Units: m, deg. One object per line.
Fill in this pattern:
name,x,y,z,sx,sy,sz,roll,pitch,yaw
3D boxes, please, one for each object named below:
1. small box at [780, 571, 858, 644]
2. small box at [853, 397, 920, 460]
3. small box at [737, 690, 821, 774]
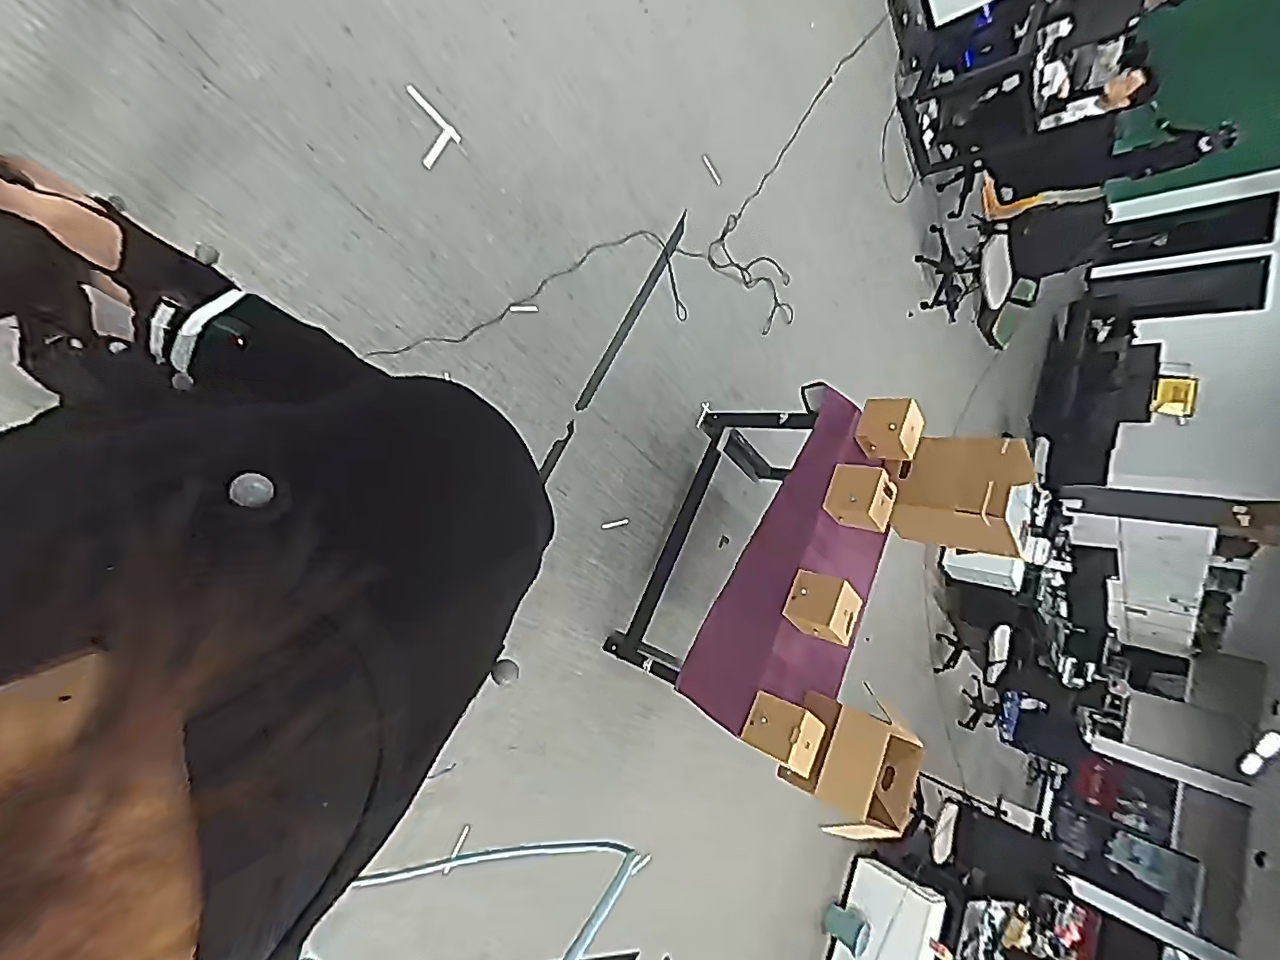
small box,0.597,0.419,1.804,0.179,0.176,0.168,43,66,-39
small box,0.927,-0.198,2.037,0.168,0.176,0.179,38,71,-41
small box,0.436,0.787,1.697,0.179,0.176,0.168,47,63,-38
